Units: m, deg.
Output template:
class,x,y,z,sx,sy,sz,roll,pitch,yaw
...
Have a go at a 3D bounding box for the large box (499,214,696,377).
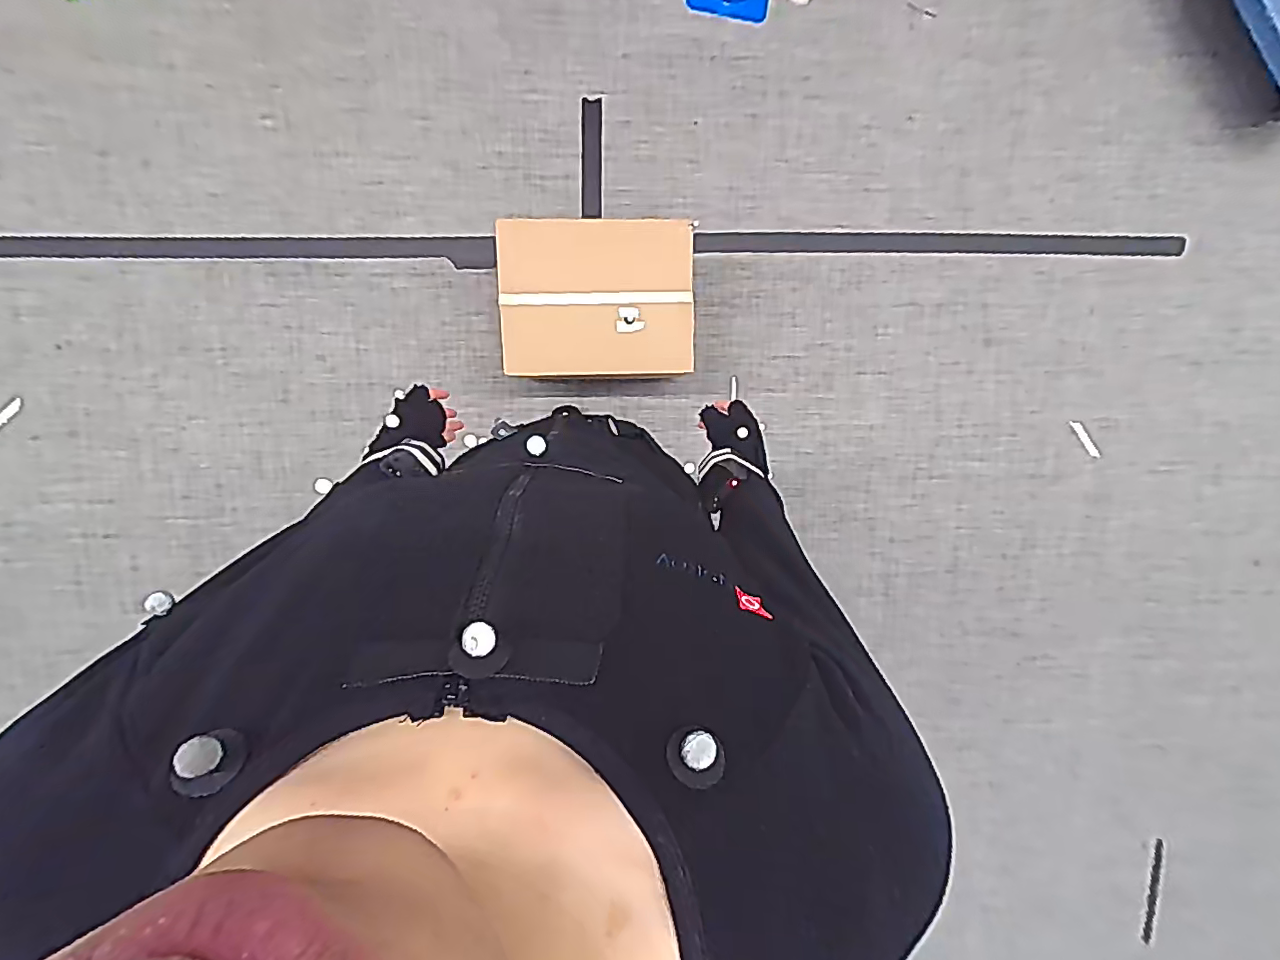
class,x,y,z,sx,sy,sz,roll,pitch,yaw
large box,-0.094,-0.411,1.274,0.408,0.320,0.320,-2,100,-4
